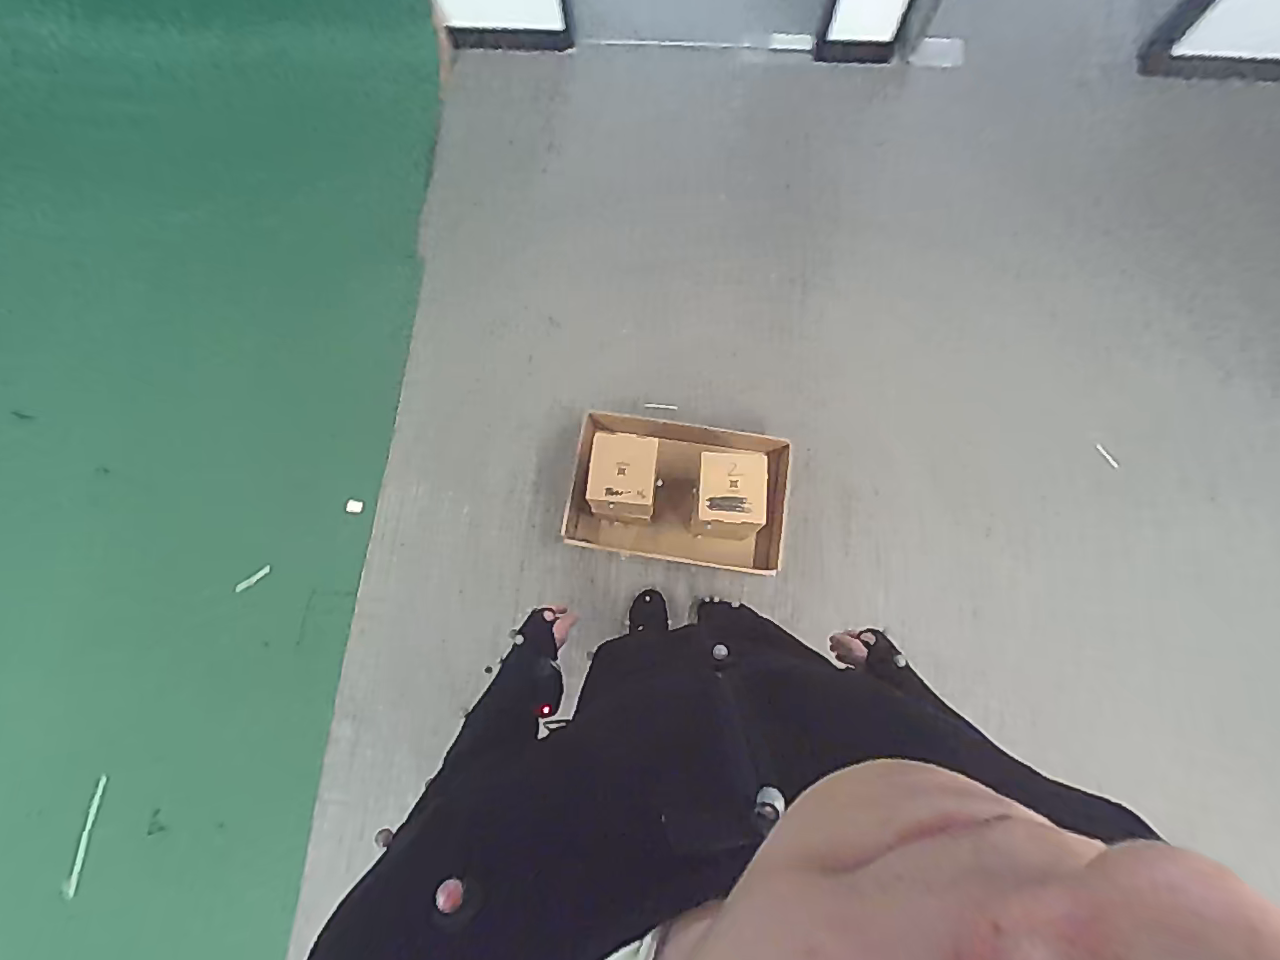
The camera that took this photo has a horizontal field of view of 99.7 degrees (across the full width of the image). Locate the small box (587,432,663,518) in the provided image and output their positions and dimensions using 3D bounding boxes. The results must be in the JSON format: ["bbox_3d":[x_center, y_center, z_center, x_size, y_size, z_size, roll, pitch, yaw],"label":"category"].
[{"bbox_3d":[-0.034,-0.008,1.410,0.168,0.176,0.179,7,76,5],"label":"small box"}]
